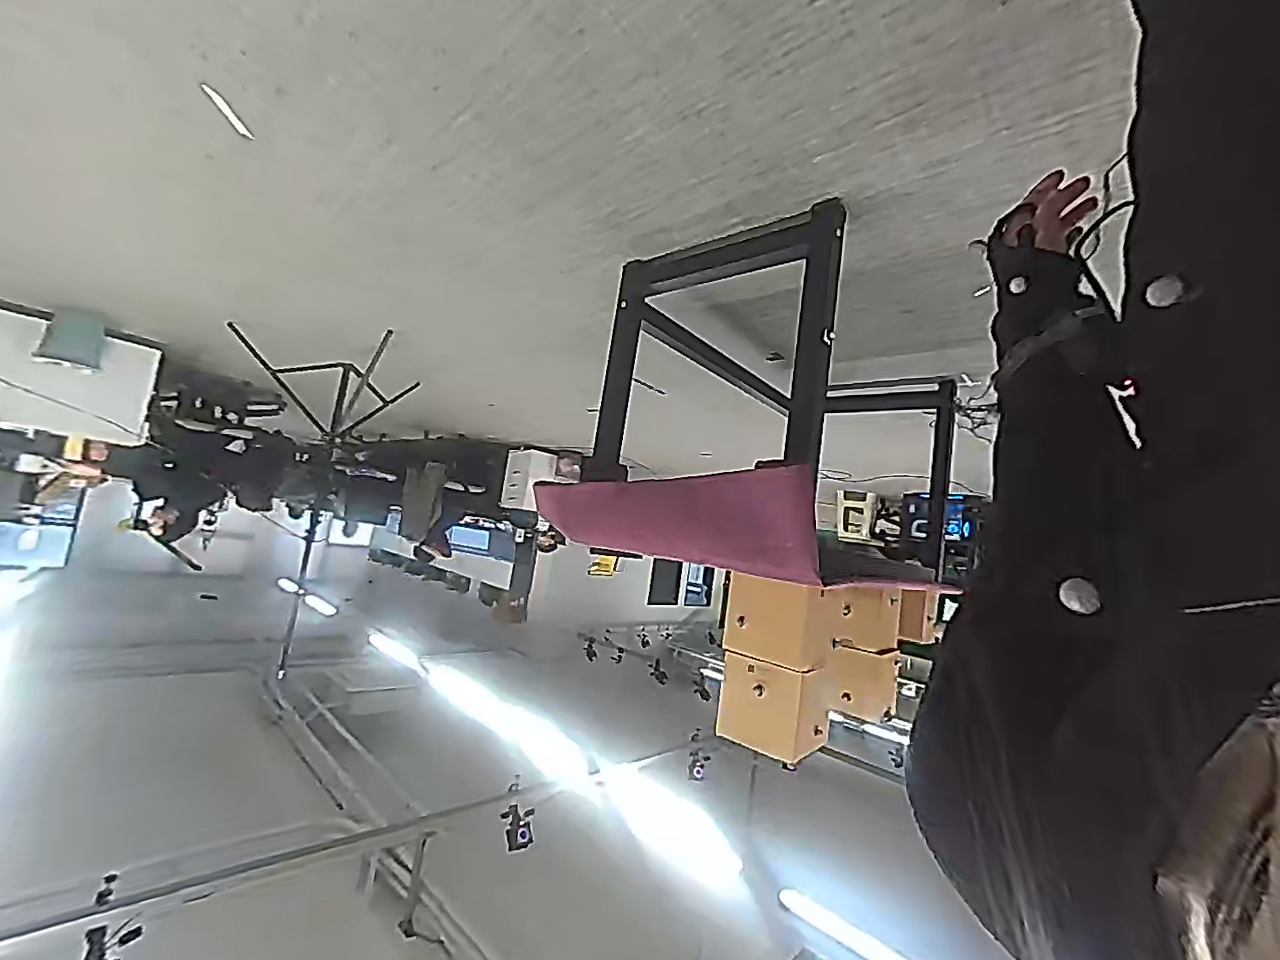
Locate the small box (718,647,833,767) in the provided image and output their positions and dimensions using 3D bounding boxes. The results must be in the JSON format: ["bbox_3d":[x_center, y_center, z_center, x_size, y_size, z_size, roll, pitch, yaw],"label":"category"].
[{"bbox_3d":[0.280,0.444,1.096,0.168,0.176,0.179,4,173,40],"label":"small box"}]

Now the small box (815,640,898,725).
[{"bbox_3d":[0.566,0.516,1.418,0.179,0.176,0.168,4,173,41],"label":"small box"}]

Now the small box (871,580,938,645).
[{"bbox_3d":[0.838,0.416,1.722,0.179,0.176,0.168,4,172,42],"label":"small box"}]

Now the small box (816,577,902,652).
[{"bbox_3d":[0.586,0.353,1.442,0.168,0.176,0.179,2,172,41],"label":"small box"}]
